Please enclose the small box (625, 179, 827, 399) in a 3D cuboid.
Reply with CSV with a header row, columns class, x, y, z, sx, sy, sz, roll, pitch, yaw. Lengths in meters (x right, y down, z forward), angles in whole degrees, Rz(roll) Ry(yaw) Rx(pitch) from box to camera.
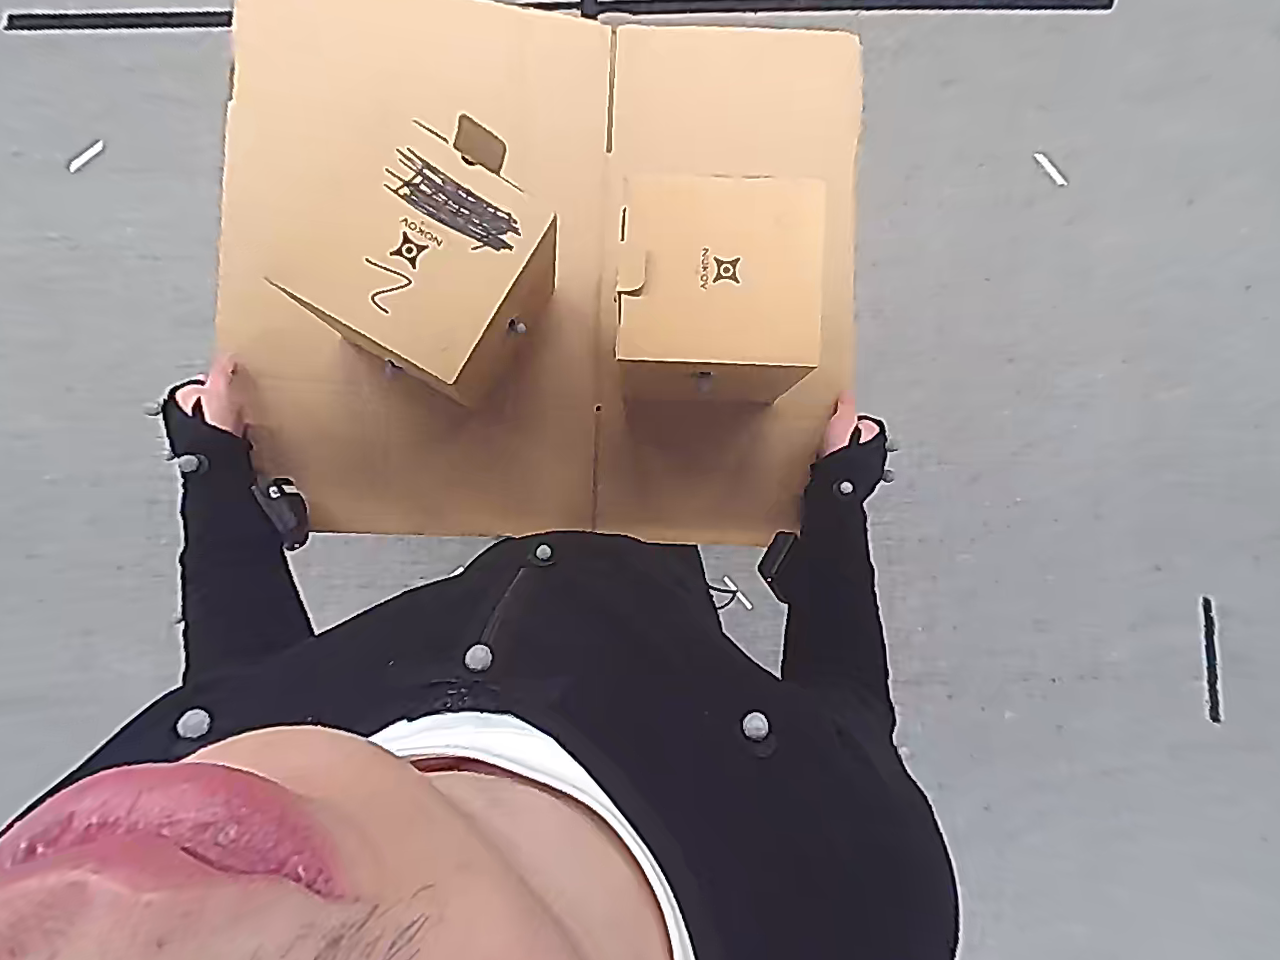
class,x,y,z,sx,sy,sz,roll,pitch,yaw
small box,0.077,-0.181,0.559,0.179,0.176,0.168,2,88,1
